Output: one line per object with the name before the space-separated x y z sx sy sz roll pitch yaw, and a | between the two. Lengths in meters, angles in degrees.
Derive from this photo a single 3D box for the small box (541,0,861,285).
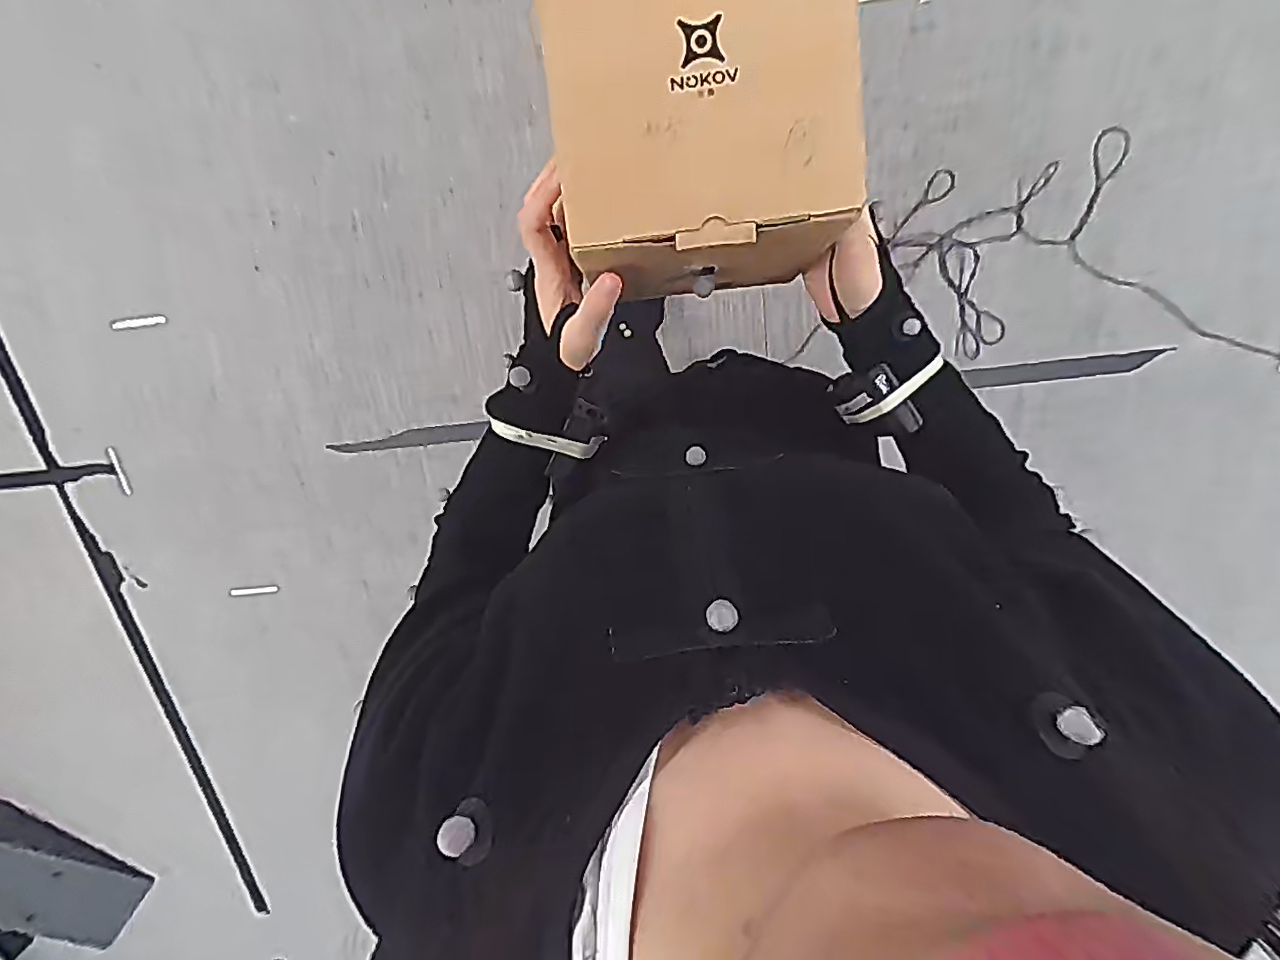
small box | 0.036 -0.237 0.364 0.168 0.176 0.179 -6 99 3
